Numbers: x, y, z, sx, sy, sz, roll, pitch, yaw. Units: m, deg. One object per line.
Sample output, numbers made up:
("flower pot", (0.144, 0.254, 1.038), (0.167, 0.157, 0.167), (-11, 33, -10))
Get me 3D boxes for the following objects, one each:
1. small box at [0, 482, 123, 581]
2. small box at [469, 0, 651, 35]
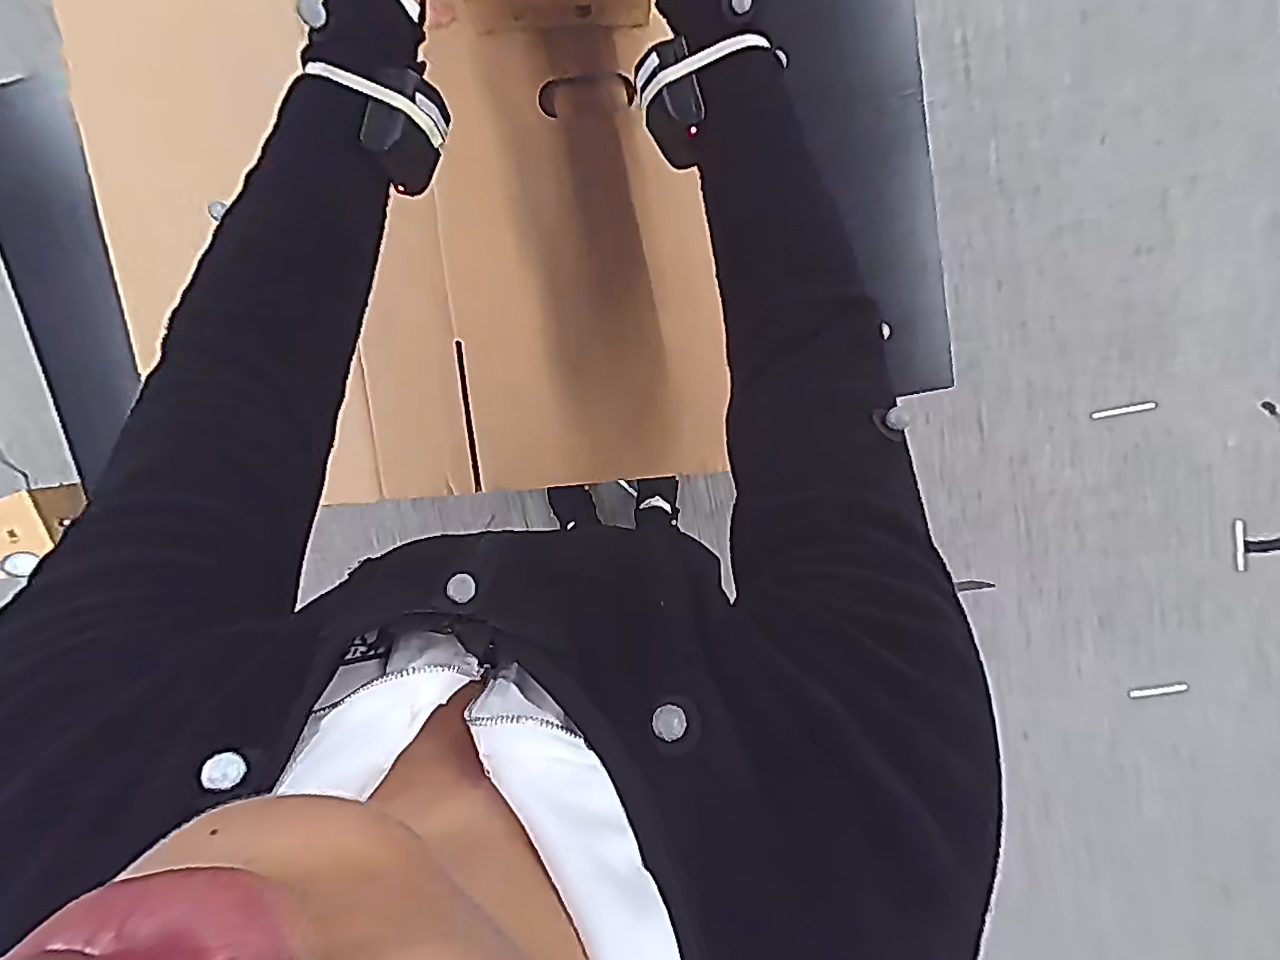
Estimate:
("small box", (-1.421, 0.118, 1.304), (0.168, 0.176, 0.179), (-18, 97, 4))
("small box", (-0.074, -0.486, 0.404), (0.168, 0.176, 0.179), (-3, 97, 0))
